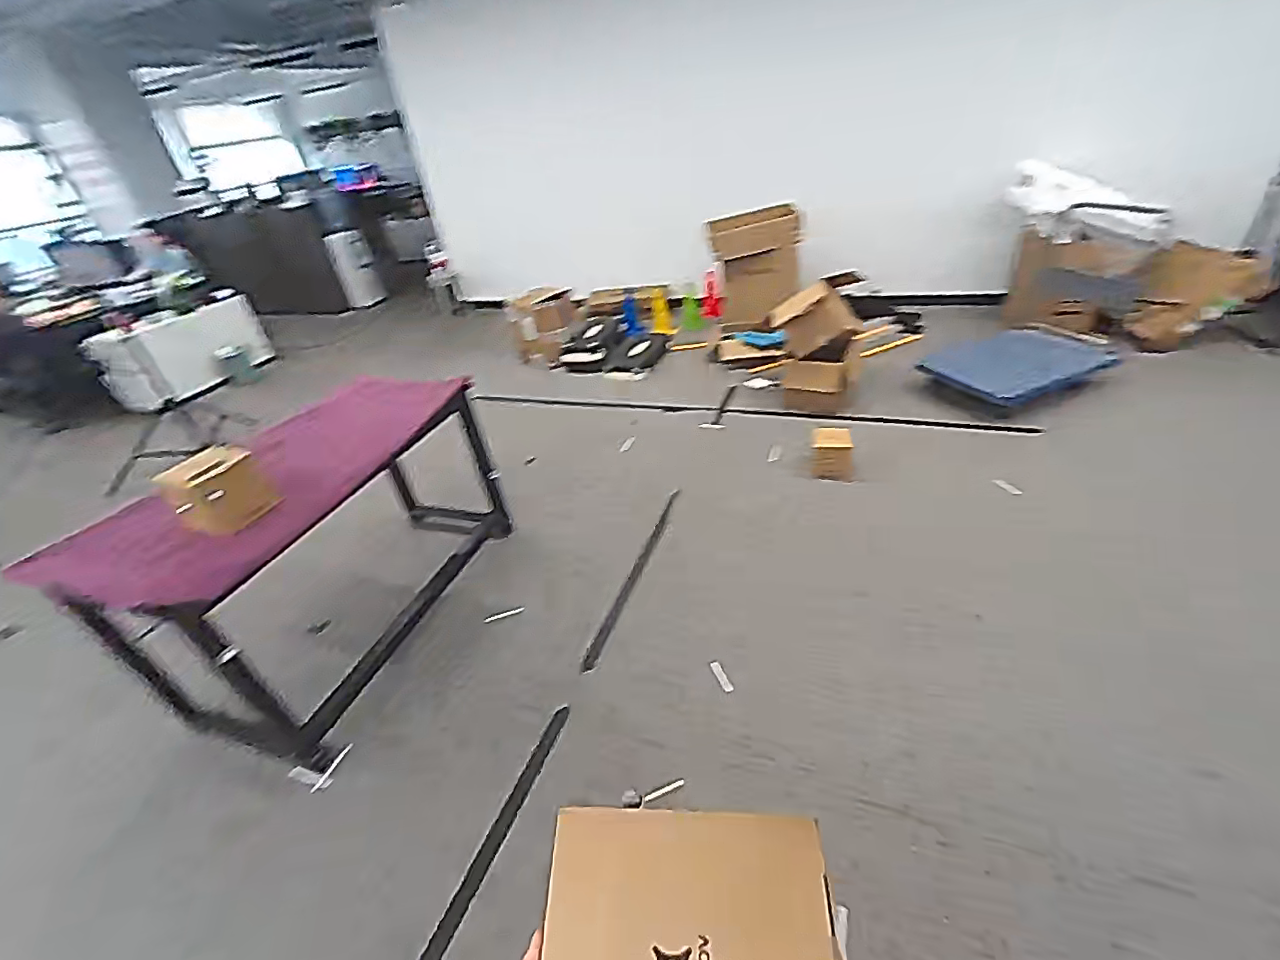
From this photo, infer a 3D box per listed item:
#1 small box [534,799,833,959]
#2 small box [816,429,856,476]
[{"bbox_3d":[0.031,0.328,0.372,0.179,0.176,0.168,-2,52,5],"label":"small box"},{"bbox_3d":[0.934,-0.131,2.579,0.168,0.176,0.179,2,35,15],"label":"small box"}]
